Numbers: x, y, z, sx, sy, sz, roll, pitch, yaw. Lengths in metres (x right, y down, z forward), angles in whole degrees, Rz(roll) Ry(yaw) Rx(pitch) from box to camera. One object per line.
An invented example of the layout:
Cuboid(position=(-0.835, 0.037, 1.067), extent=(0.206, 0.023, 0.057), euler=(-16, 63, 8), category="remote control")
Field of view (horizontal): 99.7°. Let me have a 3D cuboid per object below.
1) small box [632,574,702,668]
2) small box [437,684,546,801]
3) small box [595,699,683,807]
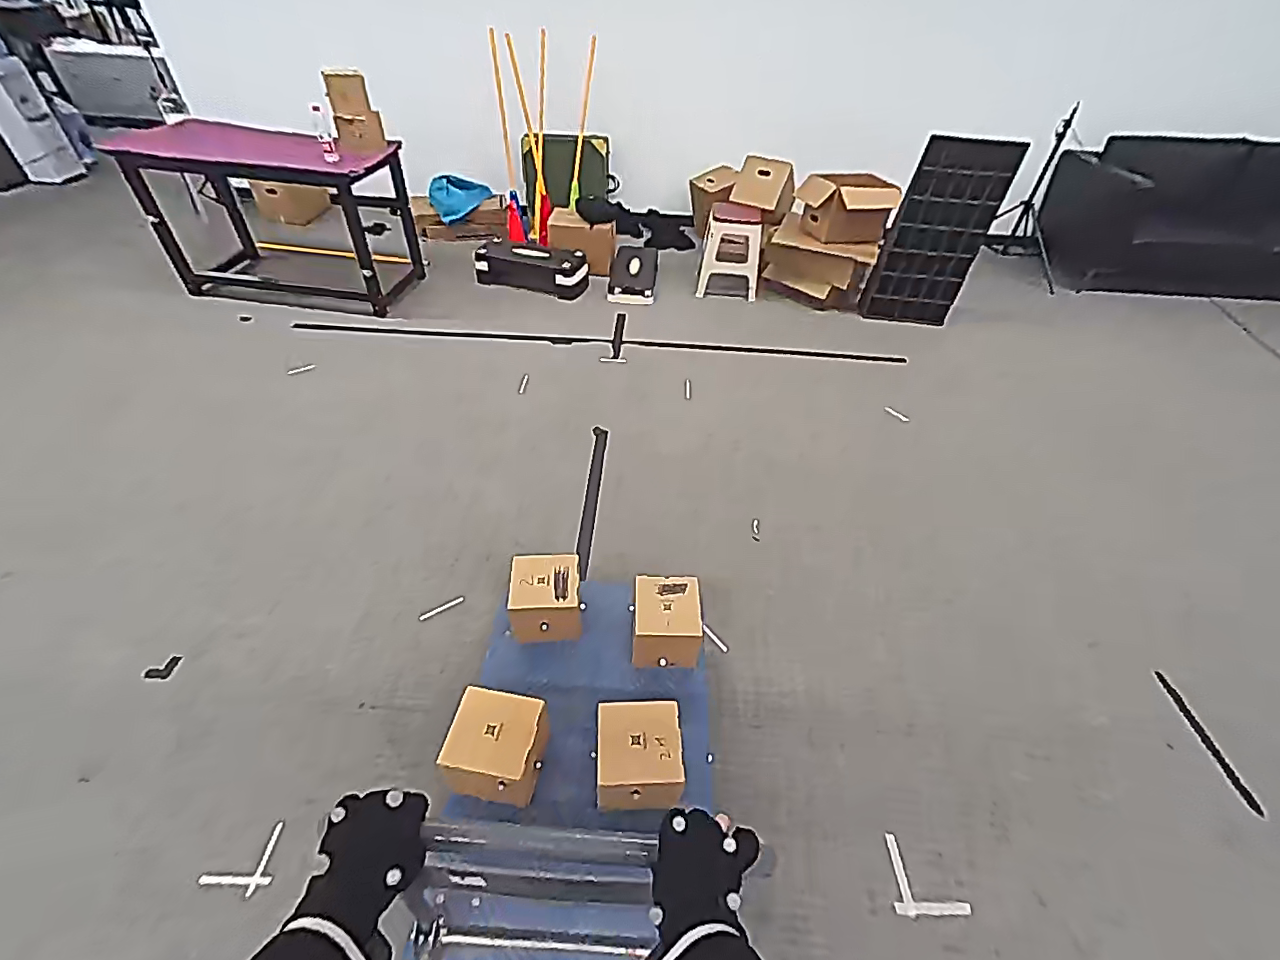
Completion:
Cuboid(position=(0.065, 0.367, 1.412), extent=(0.168, 0.176, 0.179), euler=(2, 45, -2), category="small box")
Cuboid(position=(-0.310, 0.570, 1.171), extent=(0.179, 0.176, 0.168), euler=(10, 43, 4), category="small box")
Cuboid(position=(-0.007, 0.593, 1.170), extent=(0.179, 0.176, 0.168), euler=(1, 44, -4), category="small box")
